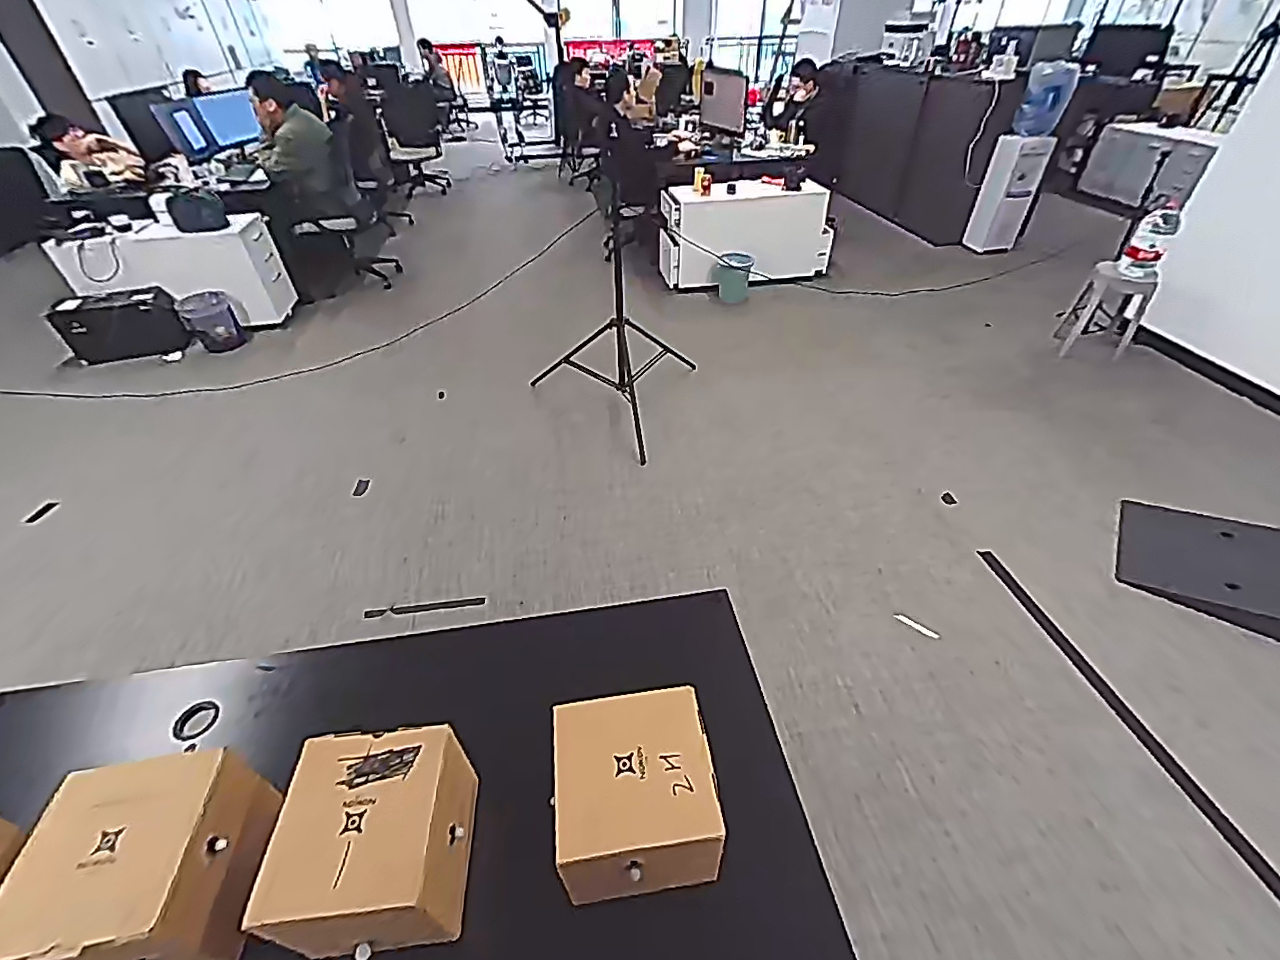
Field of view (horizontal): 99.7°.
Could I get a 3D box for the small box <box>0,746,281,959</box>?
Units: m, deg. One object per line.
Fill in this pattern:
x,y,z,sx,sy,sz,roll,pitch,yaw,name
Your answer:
-0.543,0.434,0.606,0.168,0.176,0.179,-7,40,-8,small box

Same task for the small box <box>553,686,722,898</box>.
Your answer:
-0.007,0.378,0.657,0.179,0.176,0.168,-6,41,-5,small box

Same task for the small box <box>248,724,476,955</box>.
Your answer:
-0.295,0.411,0.625,0.168,0.176,0.179,-5,41,-4,small box
